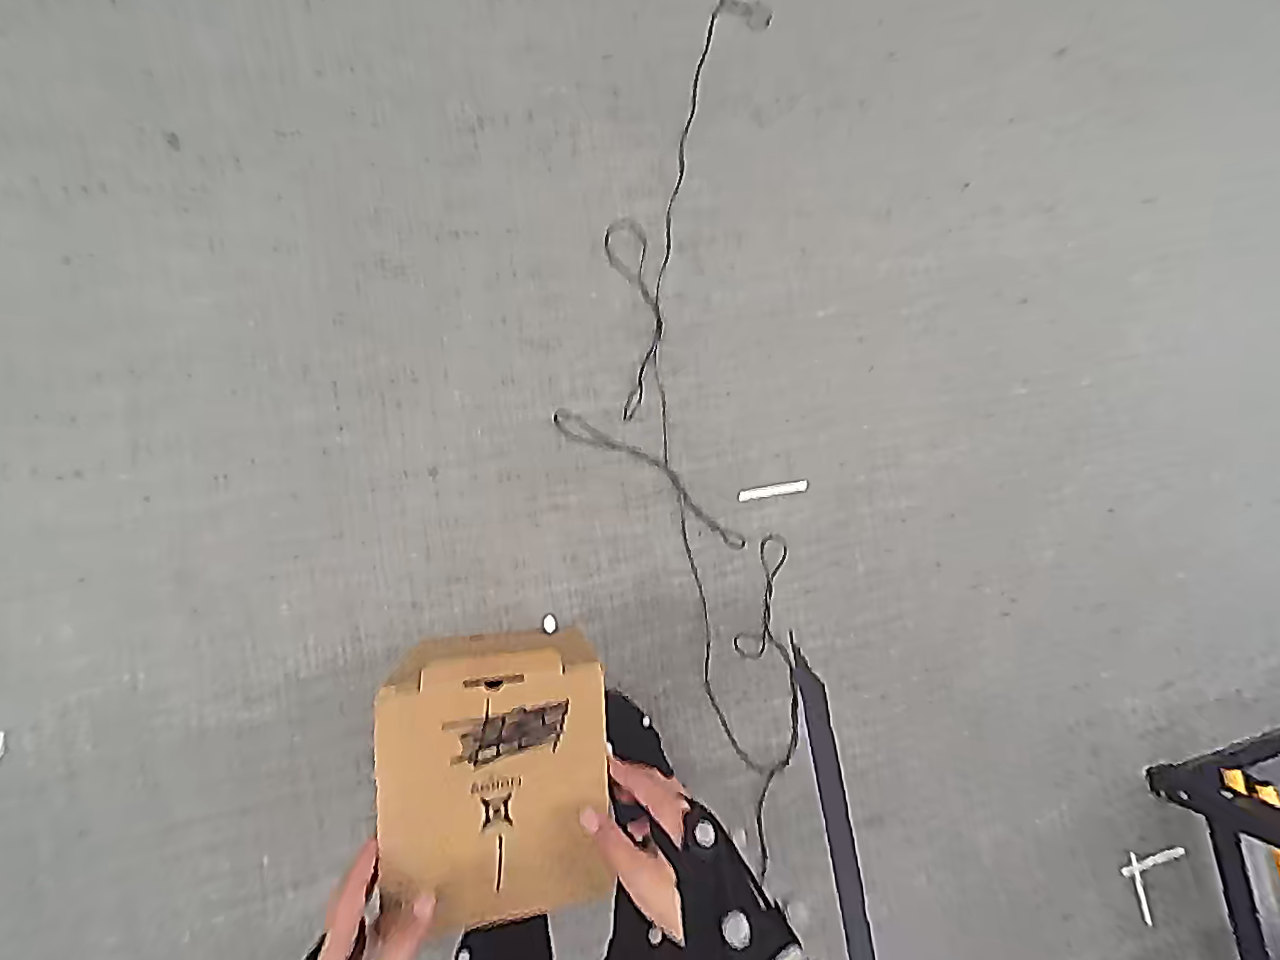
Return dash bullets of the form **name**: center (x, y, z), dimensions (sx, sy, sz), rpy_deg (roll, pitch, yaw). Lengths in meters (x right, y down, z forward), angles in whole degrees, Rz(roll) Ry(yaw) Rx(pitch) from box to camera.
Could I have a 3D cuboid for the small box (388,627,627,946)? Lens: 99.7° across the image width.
- **small box**: center (-0.111, 0.229, 0.462), dimensions (0.168, 0.176, 0.179), rpy_deg (-2, 87, -13)
